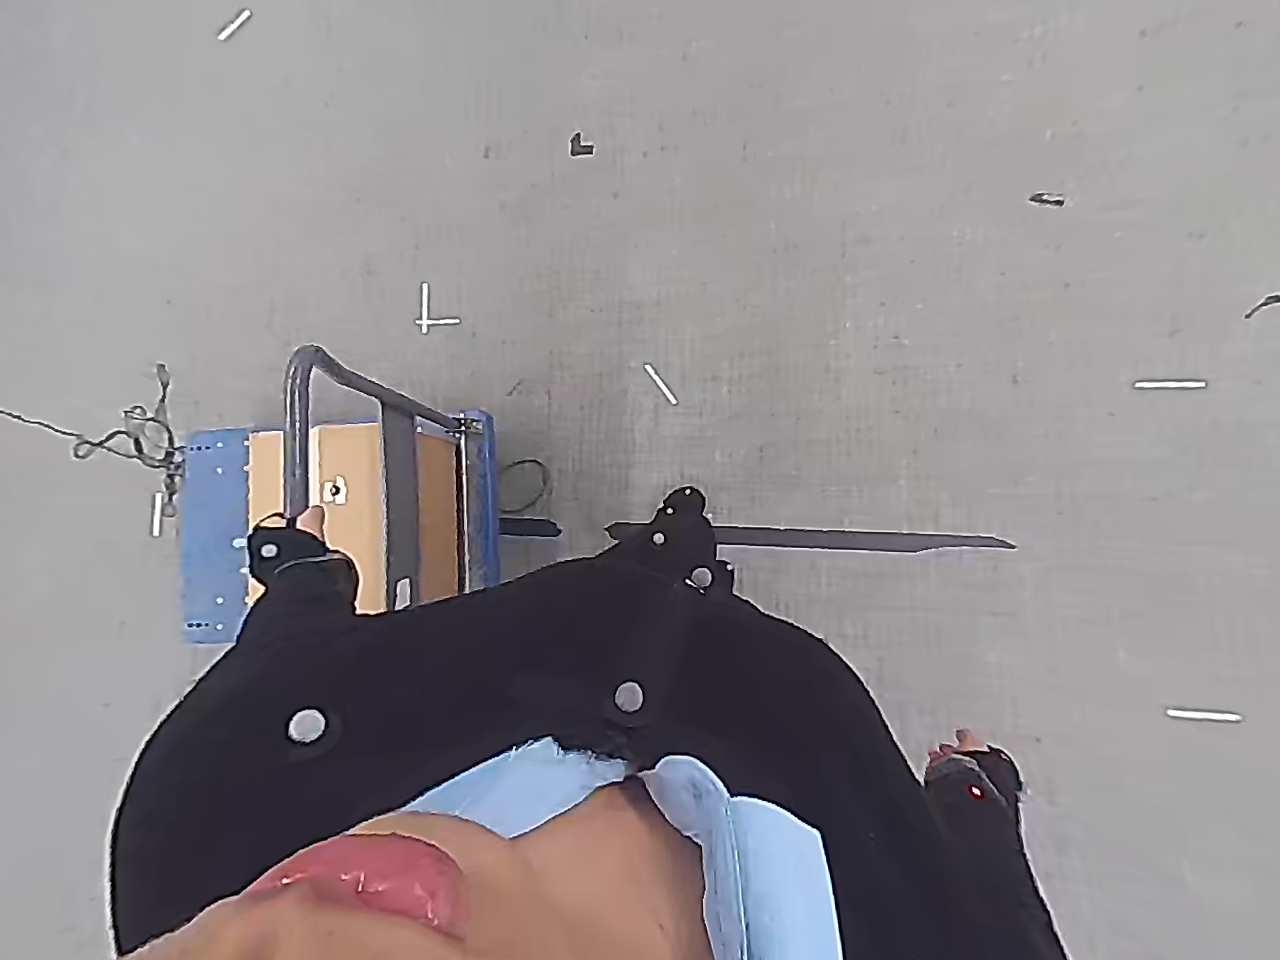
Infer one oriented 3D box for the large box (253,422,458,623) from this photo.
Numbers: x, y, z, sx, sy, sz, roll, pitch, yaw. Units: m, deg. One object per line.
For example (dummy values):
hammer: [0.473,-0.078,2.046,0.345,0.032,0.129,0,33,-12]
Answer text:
large box: [-0.639,0.102,1.259,0.320,0.320,0.408,-3,85,5]
